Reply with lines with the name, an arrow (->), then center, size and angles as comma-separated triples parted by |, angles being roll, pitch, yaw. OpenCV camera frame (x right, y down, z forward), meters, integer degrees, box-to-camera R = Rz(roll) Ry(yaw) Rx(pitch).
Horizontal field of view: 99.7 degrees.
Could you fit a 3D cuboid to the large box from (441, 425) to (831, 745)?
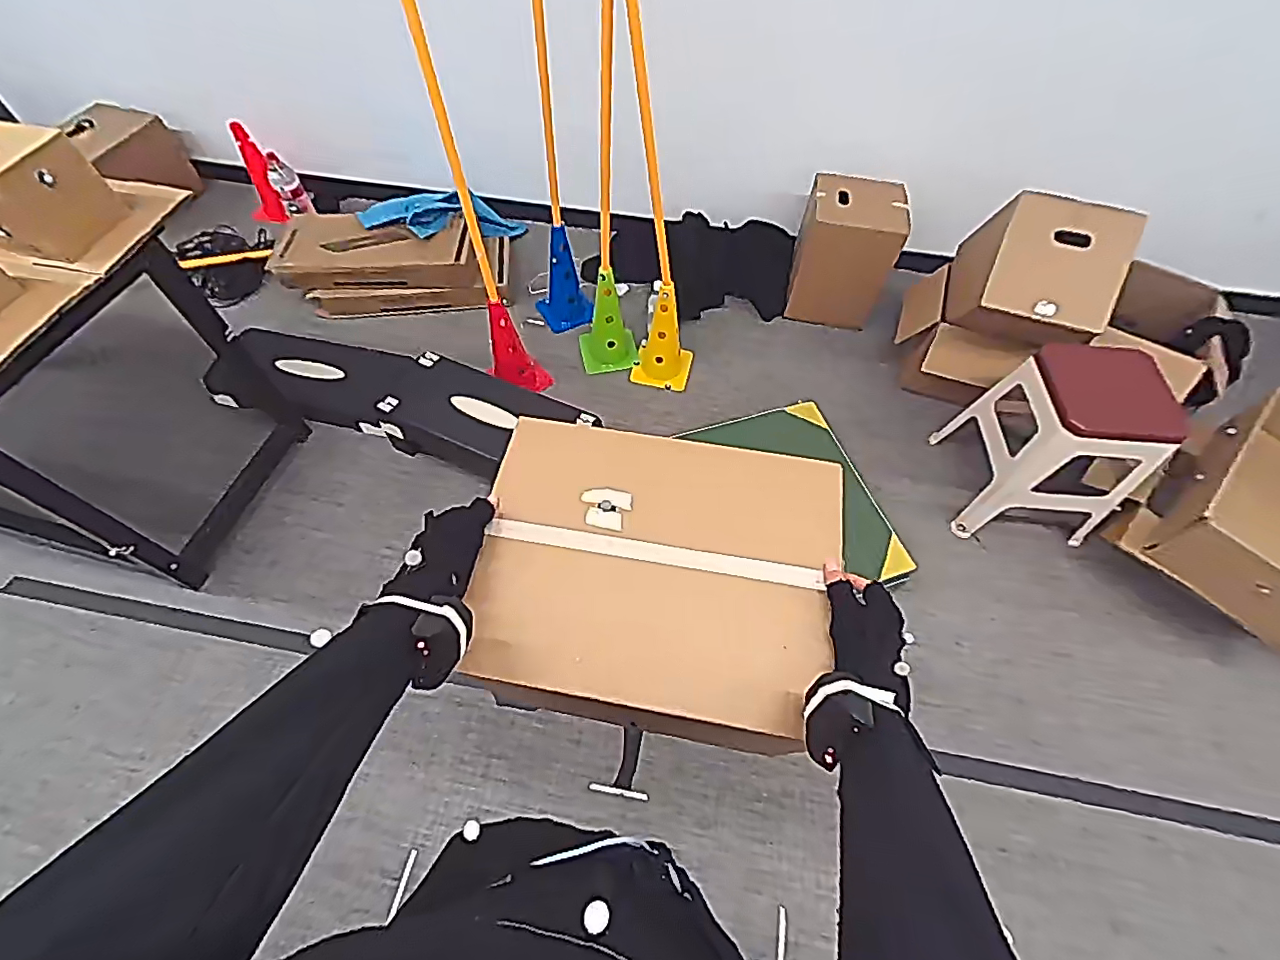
large box -> 0.018, 0.158, 0.740 | 0.408, 0.320, 0.320 | 9, 61, 7
